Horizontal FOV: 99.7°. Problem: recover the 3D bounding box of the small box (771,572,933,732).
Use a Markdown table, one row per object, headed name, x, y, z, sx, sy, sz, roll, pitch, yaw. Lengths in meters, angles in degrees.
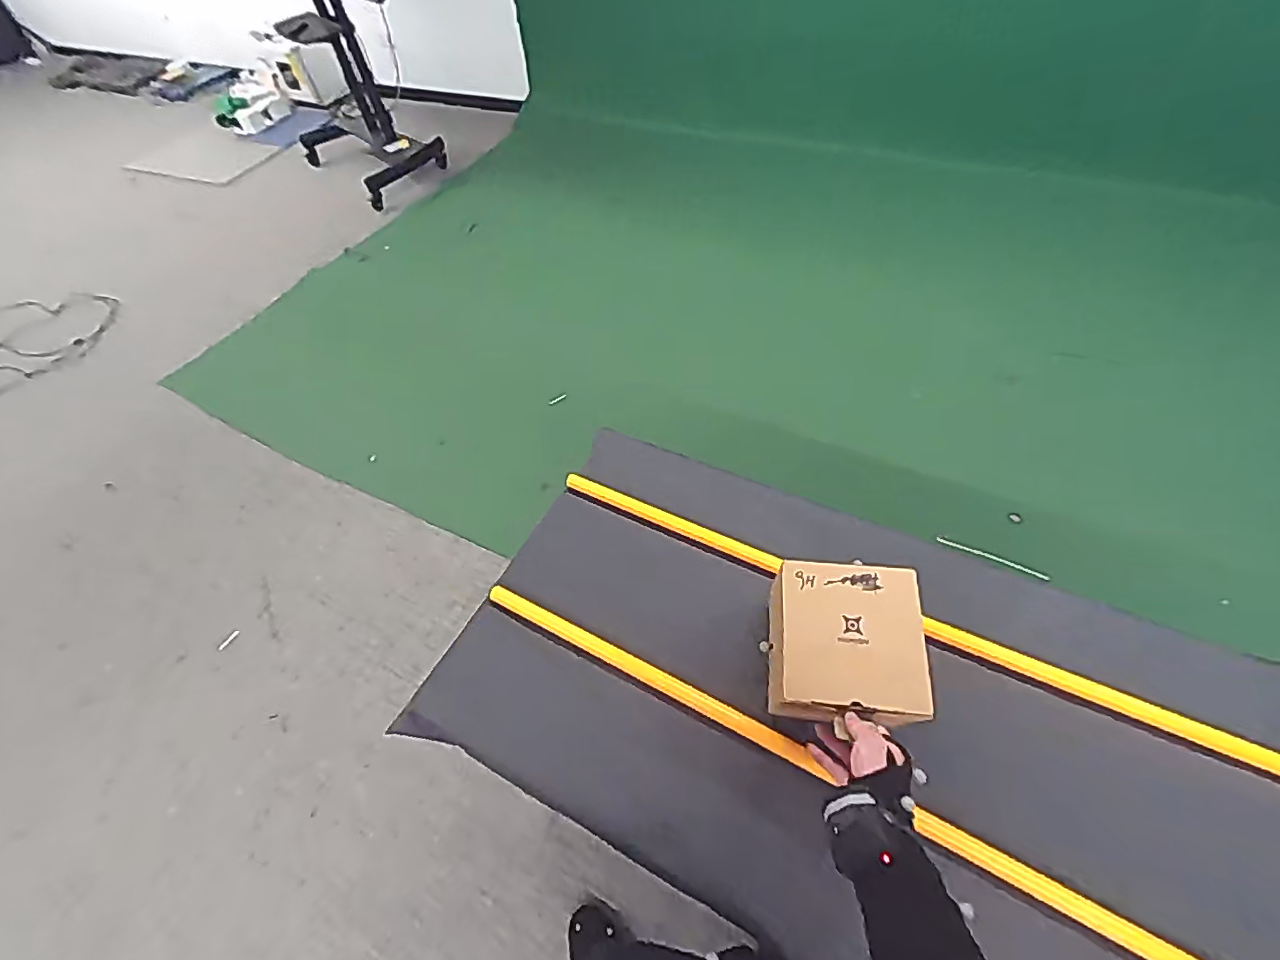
| name | x | y | z | sx | sy | sz | roll | pitch | yaw |
| --- | --- | --- | --- | --- | --- | --- | --- | --- | --- |
| small box | 0.268 | 0.235 | 0.726 | 0.168 | 0.176 | 0.179 | -1 | 60 | 9 |
